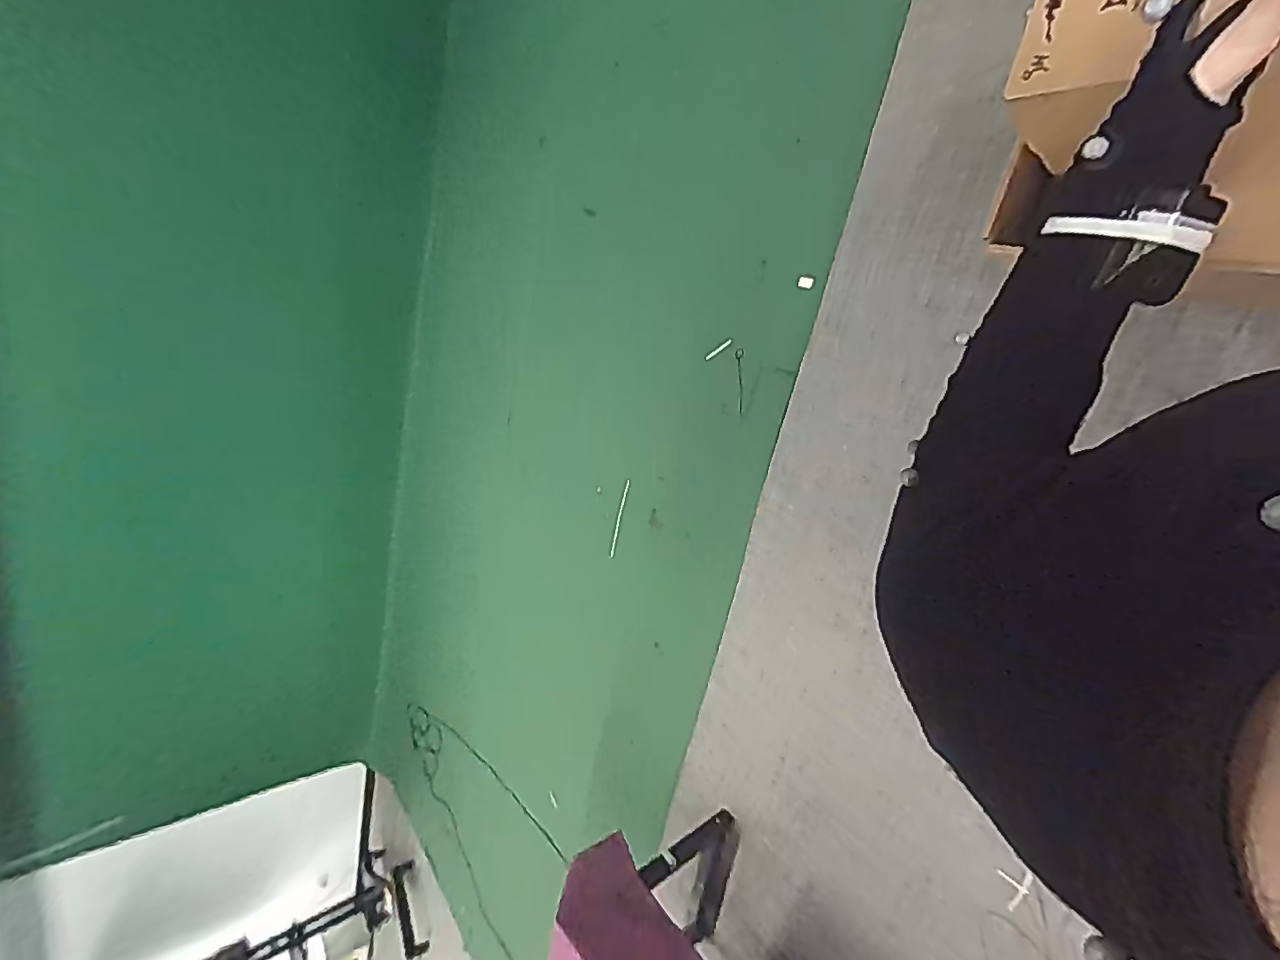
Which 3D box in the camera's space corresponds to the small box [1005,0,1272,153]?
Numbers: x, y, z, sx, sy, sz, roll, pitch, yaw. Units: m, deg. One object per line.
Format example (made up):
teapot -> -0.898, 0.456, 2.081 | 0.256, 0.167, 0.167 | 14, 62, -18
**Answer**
small box -> 0.551, -0.485, 0.598 | 0.179, 0.176, 0.168 | 28, 111, 43
